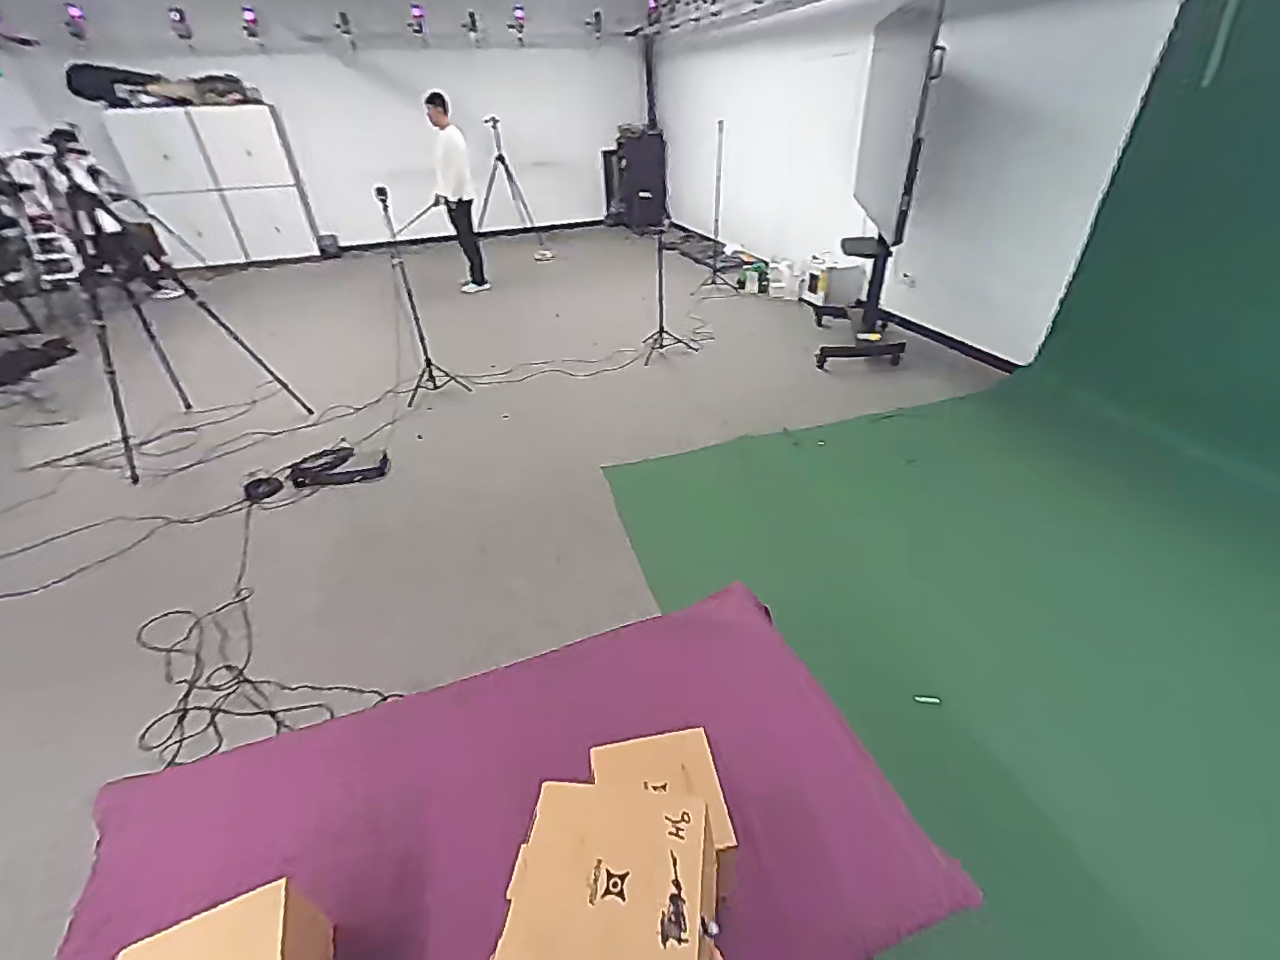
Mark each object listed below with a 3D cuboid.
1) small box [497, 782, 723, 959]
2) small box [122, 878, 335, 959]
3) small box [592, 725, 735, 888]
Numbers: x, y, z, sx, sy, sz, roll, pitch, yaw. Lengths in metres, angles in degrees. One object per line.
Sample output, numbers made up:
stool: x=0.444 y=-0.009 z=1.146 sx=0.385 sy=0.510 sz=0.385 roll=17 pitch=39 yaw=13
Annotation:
small box: x=-0.014 y=0.430 z=0.539 sx=0.179 sy=0.176 sz=0.168 roll=-1 pitch=39 yaw=13
small box: x=-0.477 y=0.622 z=0.633 sx=0.179 sy=0.176 sz=0.168 roll=-17 pitch=37 yaw=-19
small box: x=0.030 y=0.491 z=0.787 sx=0.179 sy=0.176 sz=0.168 roll=-7 pitch=35 yaw=-6
